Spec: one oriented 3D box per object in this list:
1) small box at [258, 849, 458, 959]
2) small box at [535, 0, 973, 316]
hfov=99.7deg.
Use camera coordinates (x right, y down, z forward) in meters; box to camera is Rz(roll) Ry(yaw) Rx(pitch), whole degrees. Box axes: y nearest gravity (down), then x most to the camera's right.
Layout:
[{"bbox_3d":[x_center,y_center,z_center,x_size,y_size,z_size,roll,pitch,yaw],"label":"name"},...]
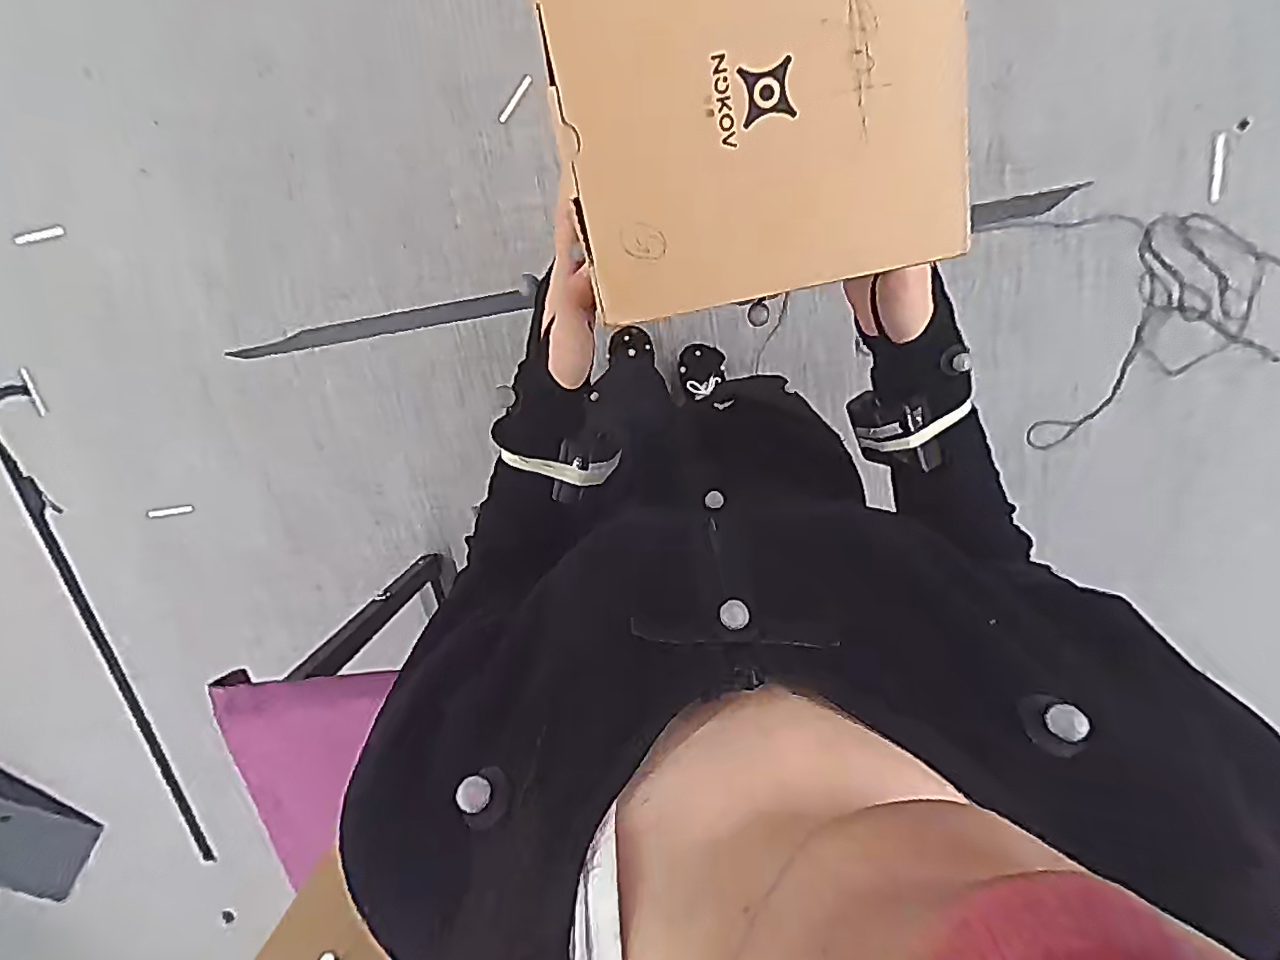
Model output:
[{"bbox_3d":[-0.352,0.619,0.696,0.168,0.176,0.179,-4,106,5],"label":"small box"},{"bbox_3d":[0.054,-0.191,0.307,0.179,0.176,0.168,-10,107,4],"label":"small box"}]
